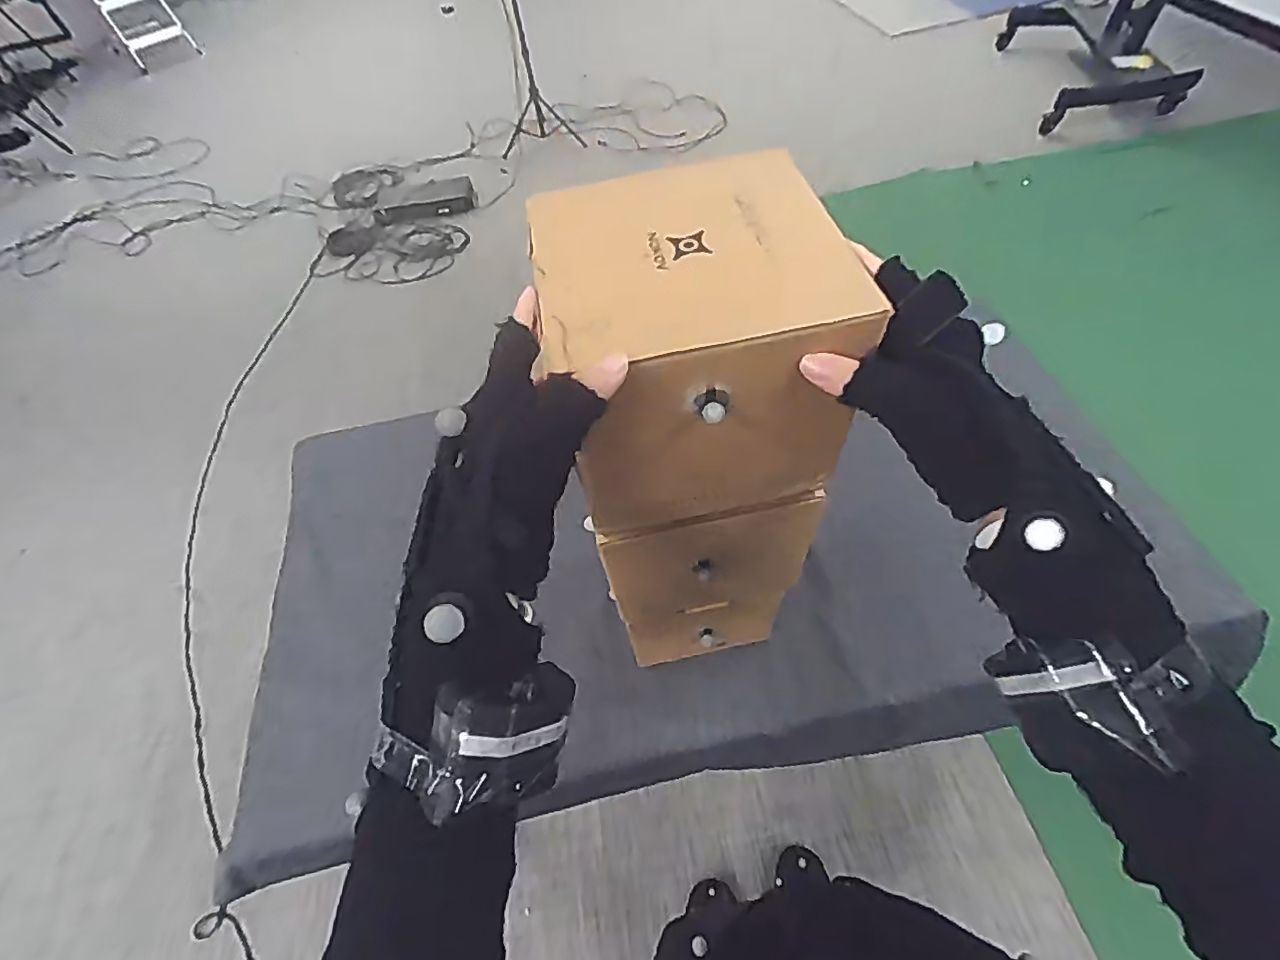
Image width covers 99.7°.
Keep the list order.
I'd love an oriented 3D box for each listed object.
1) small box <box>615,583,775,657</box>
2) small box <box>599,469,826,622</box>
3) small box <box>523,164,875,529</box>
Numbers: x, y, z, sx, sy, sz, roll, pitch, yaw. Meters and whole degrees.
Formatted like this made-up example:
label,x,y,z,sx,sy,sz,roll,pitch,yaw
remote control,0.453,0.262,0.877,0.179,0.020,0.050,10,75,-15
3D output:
label,x,y,z,sx,sy,sz,roll,pitch,yaw
small box,0.051,0.100,0.652,0.168,0.176,0.179,-12,57,-2
small box,0.045,0.015,0.510,0.179,0.176,0.168,-13,56,-5
small box,0.028,-0.082,0.378,0.179,0.176,0.168,-11,57,-2
